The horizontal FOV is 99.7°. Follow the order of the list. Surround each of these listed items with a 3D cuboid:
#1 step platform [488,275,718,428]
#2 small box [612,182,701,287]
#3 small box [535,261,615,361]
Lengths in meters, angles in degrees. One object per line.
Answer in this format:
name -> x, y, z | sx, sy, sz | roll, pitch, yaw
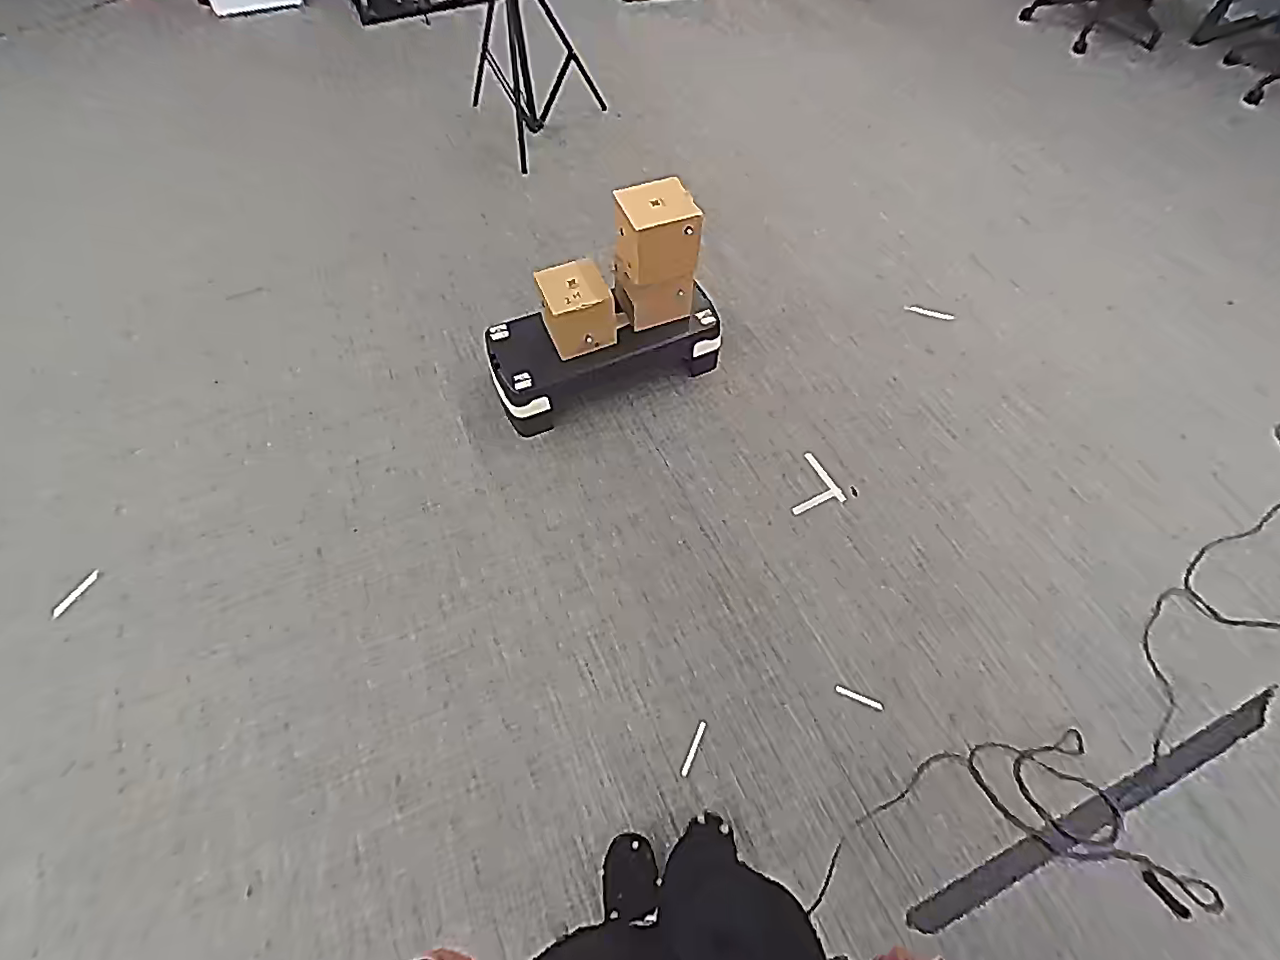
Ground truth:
step platform -> -0.105, -0.416, 1.653 | 0.684, 0.204, 0.286 | -23, 62, -11
small box -> 0.040, -0.621, 1.382 | 0.179, 0.176, 0.168 | -19, 62, -11
small box -> -0.175, -0.457, 1.477 | 0.168, 0.176, 0.179 | -21, 62, -11
